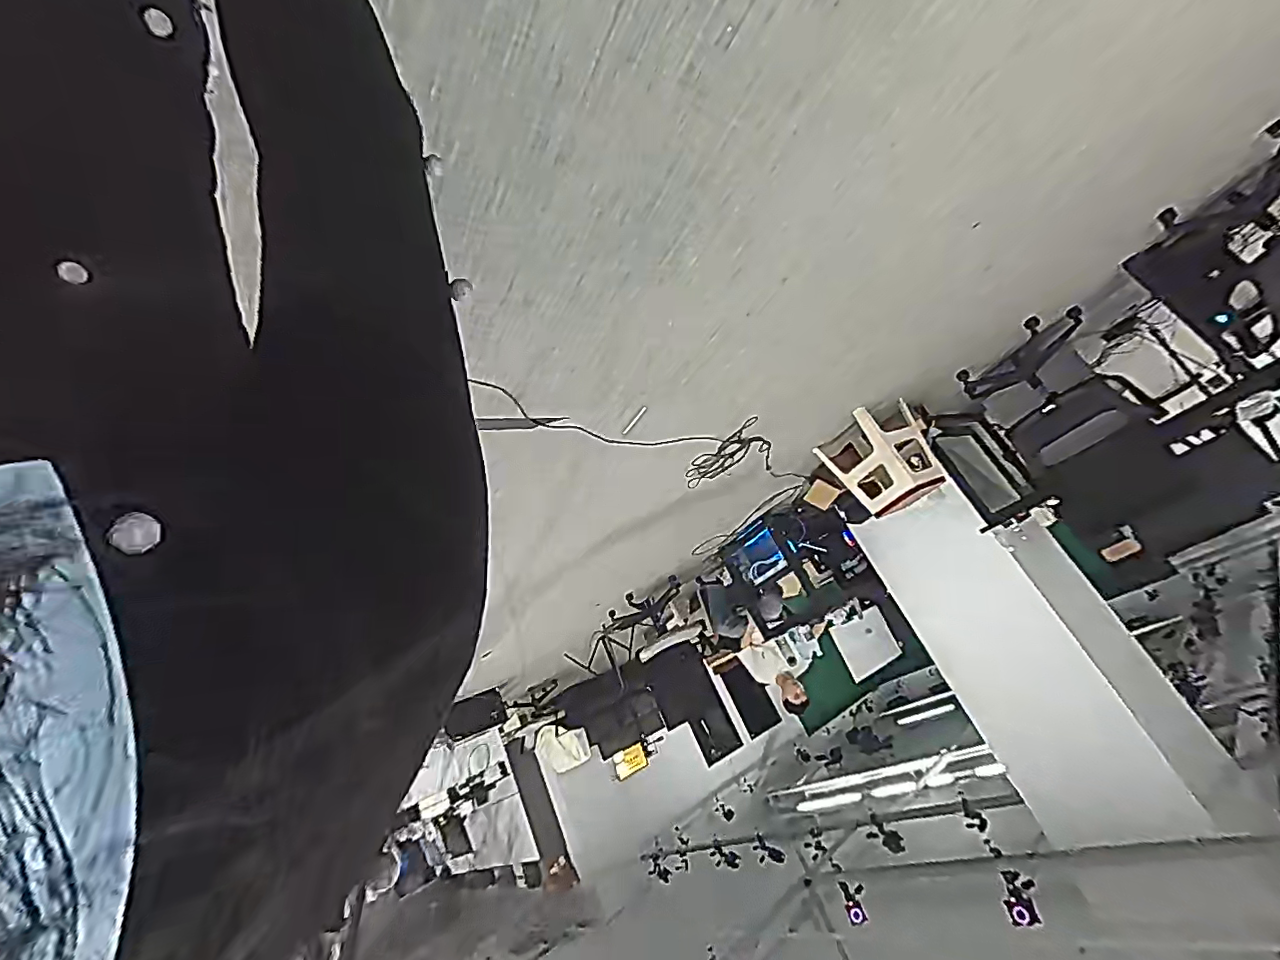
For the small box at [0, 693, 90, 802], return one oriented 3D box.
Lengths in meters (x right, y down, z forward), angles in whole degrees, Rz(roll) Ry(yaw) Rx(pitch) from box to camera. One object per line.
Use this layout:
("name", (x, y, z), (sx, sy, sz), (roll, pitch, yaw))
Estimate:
("small box", (-1.421, 0.625, 1.273), (0.168, 0.176, 0.179), (-7, 151, -44))
